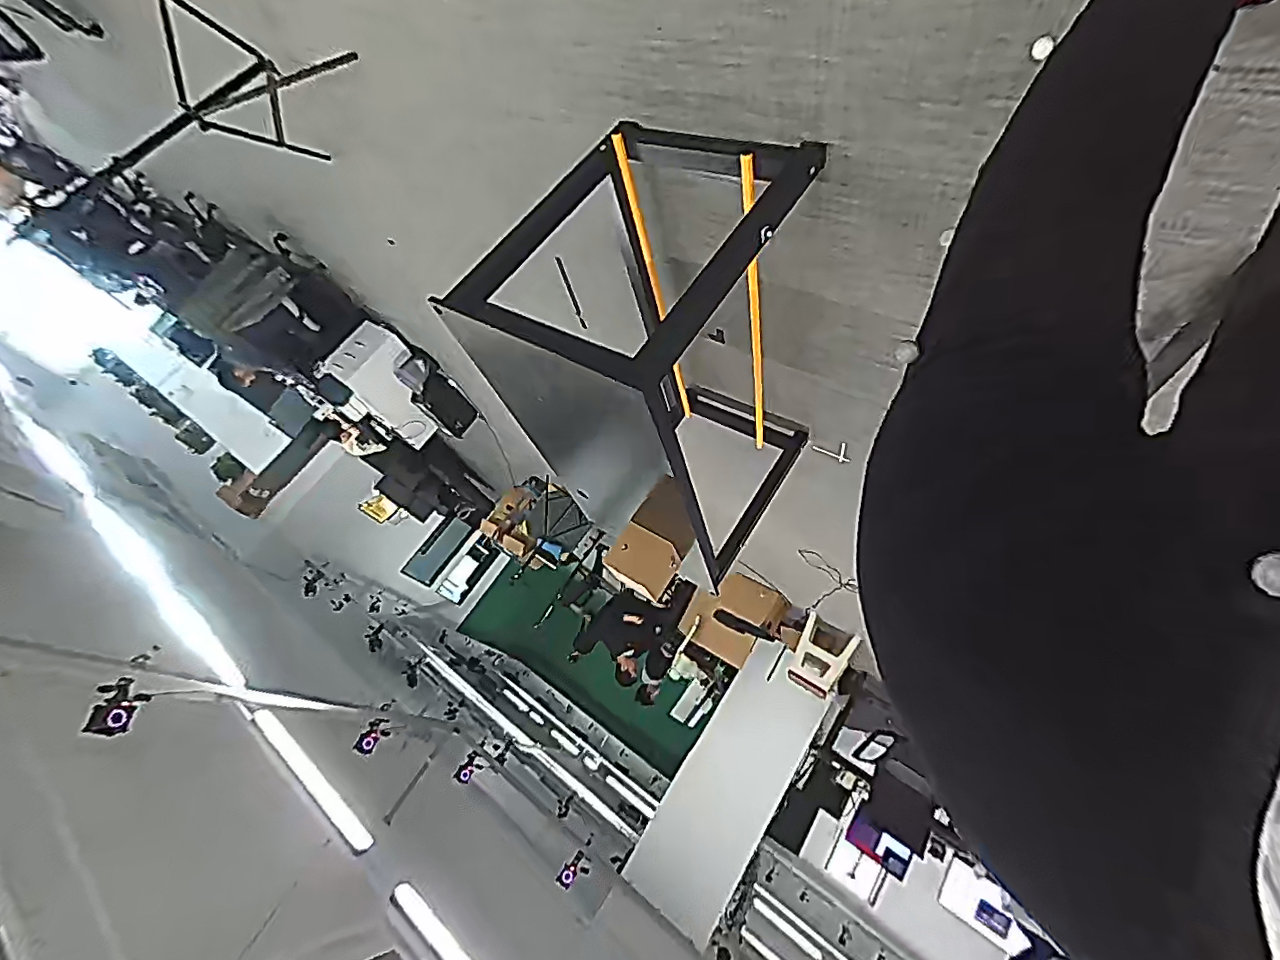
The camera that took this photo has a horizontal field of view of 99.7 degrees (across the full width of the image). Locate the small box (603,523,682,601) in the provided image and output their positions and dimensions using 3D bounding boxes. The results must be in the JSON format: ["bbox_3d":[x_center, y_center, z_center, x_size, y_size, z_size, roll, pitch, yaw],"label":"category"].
[{"bbox_3d":[0.012,0.263,1.777,0.179,0.176,0.168,26,161,29],"label":"small box"}]
